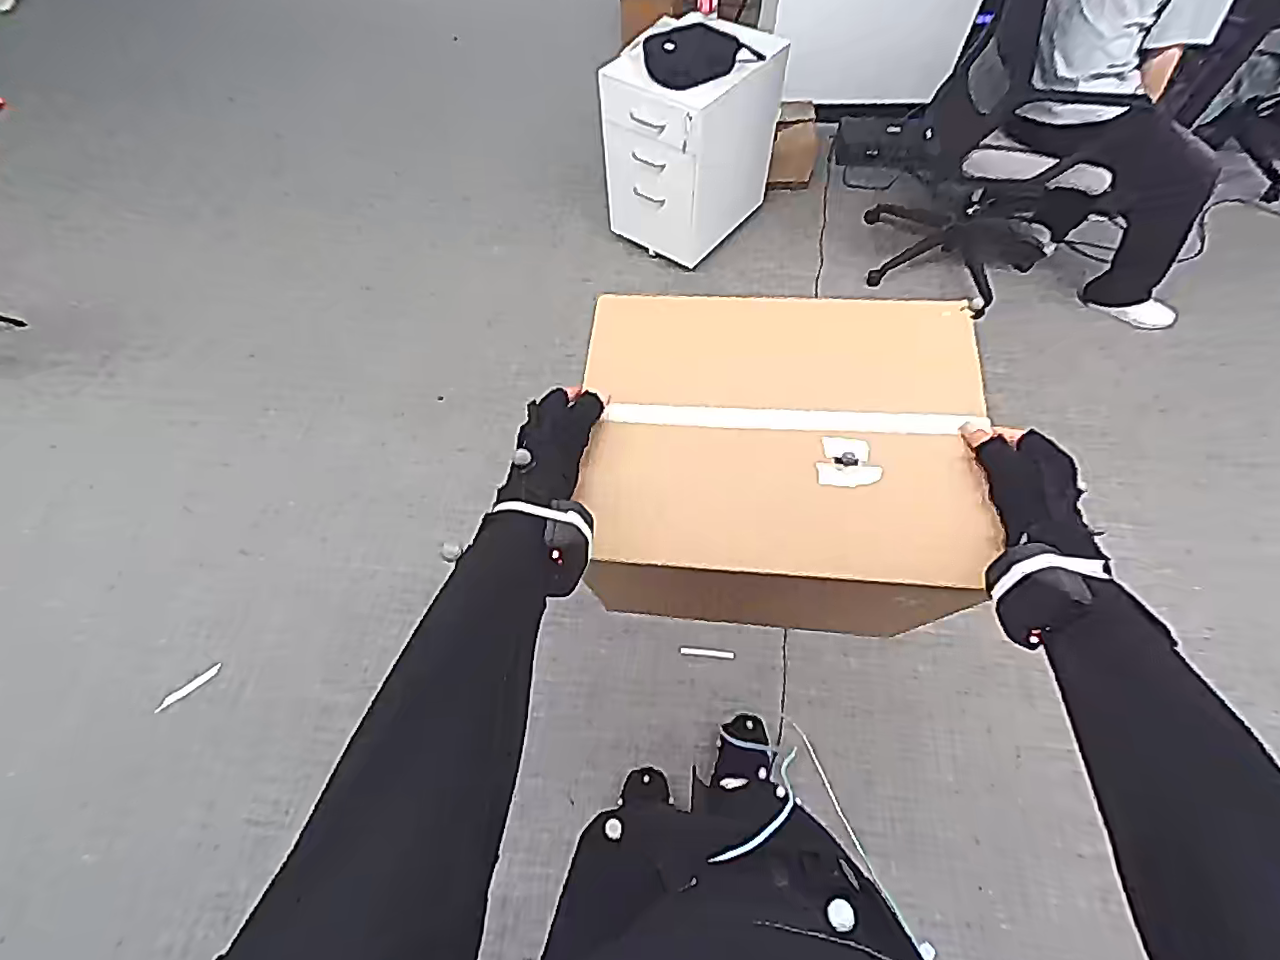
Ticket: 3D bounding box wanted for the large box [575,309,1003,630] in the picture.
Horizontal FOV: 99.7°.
[{"bbox_3d":[0.156,0.003,0.699,0.408,0.320,0.320,4,68,7],"label":"large box"}]
